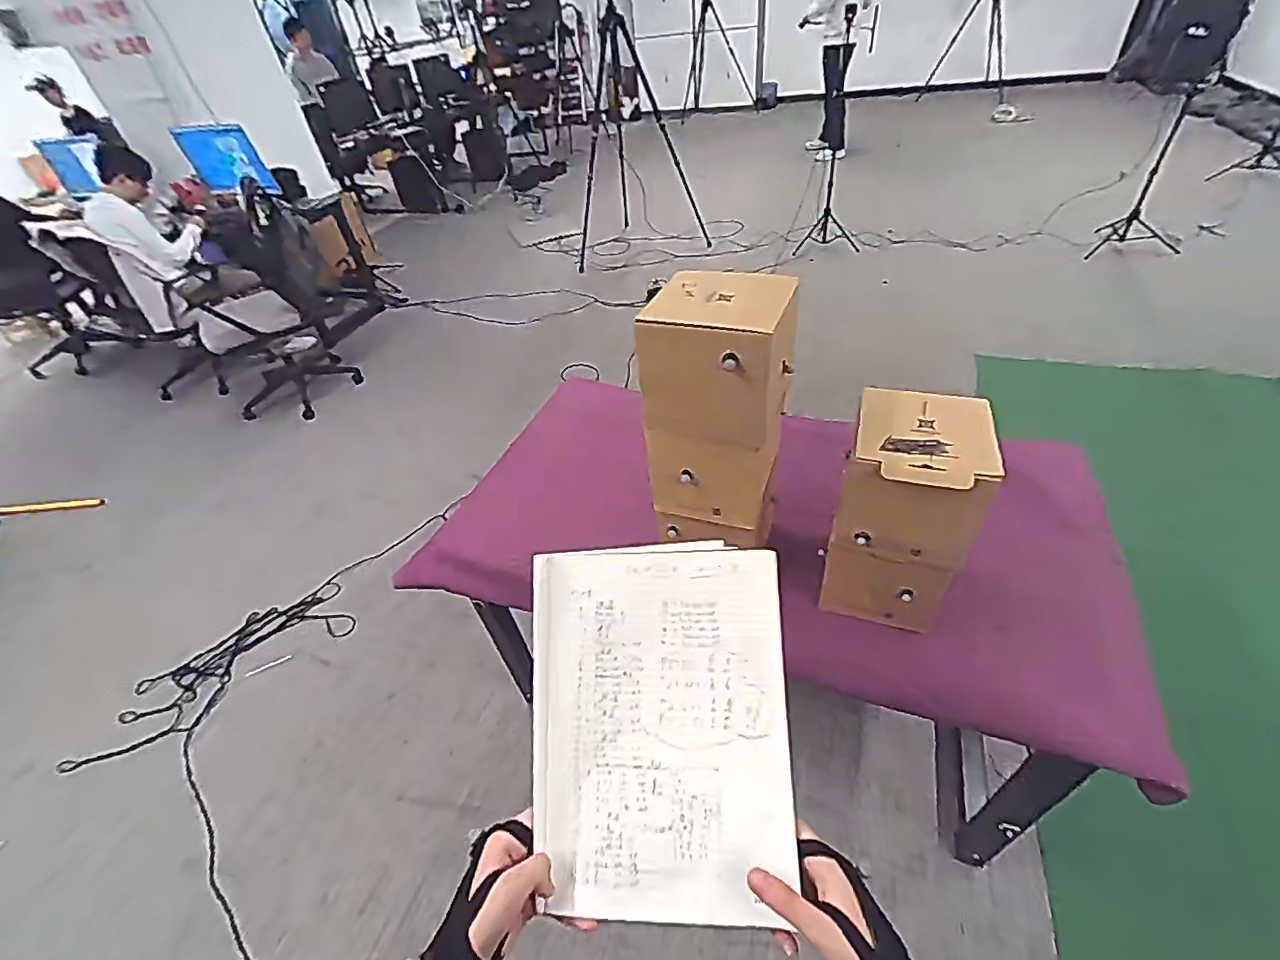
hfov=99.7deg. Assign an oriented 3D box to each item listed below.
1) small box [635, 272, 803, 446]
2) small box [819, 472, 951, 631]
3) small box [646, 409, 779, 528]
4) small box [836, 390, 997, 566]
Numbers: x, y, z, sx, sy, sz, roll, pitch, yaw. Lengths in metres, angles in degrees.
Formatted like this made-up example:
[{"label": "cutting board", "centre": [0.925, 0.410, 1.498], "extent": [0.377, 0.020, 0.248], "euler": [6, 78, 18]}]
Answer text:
[{"label": "small box", "centre": [0.111, -0.166, 0.740], "extent": [0.179, 0.176, 0.168], "euler": [12, 44, 21]}, {"label": "small box", "centre": [0.393, 0.115, 0.879], "extent": [0.168, 0.176, 0.179], "euler": [11, 44, 19]}, {"label": "small box", "centre": [0.123, -0.048, 0.856], "extent": [0.168, 0.176, 0.179], "euler": [11, 44, 20]}, {"label": "small box", "centre": [0.380, -0.004, 0.767], "extent": [0.168, 0.176, 0.179], "euler": [10, 43, 18]}]
